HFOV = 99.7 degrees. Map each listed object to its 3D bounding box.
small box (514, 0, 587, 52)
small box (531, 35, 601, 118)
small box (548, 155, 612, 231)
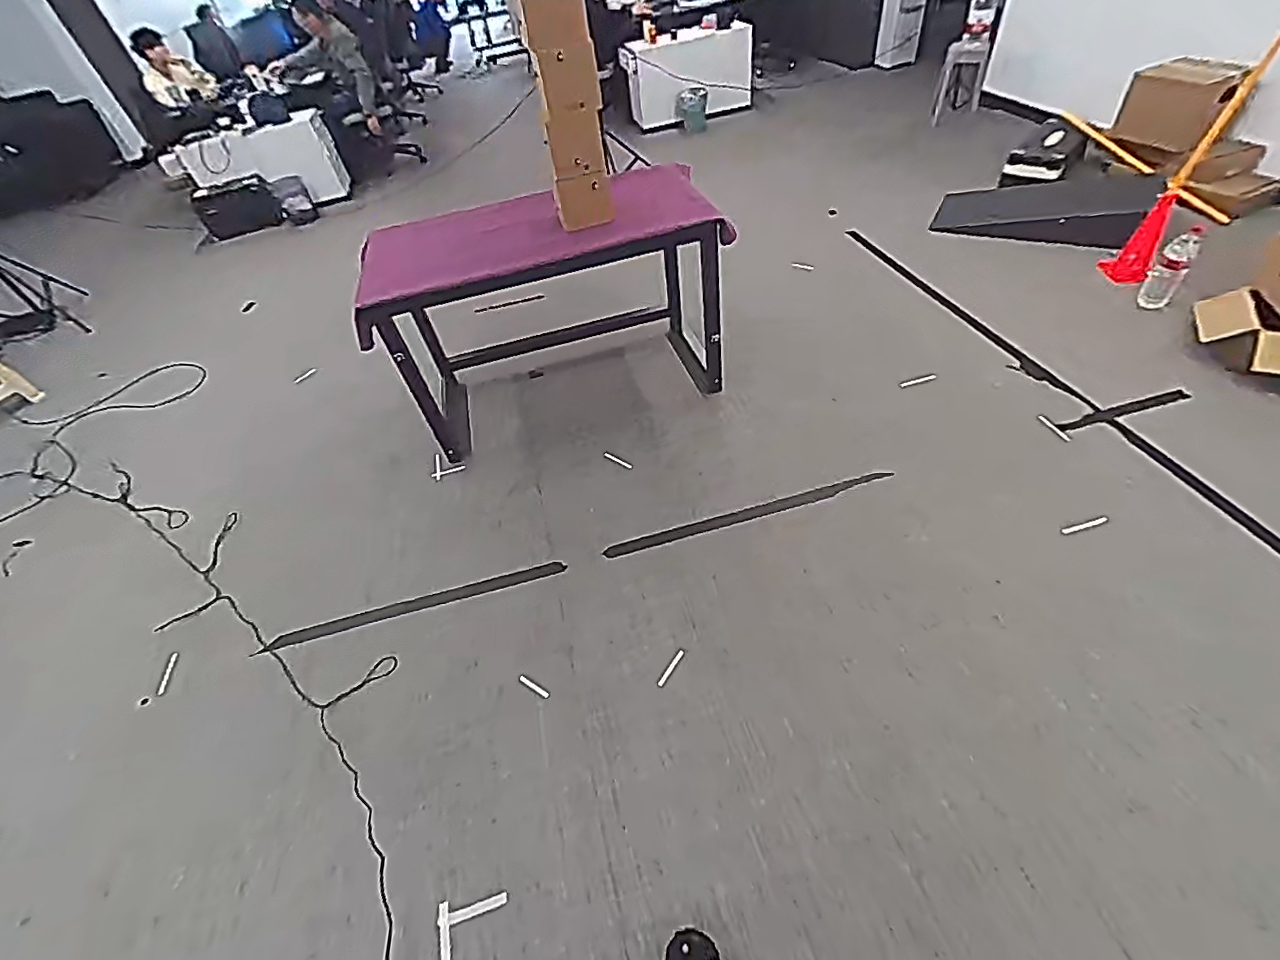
[{"bbox_3d":[-0.254,-1.325,1.506,0.179,0.176,0.168,-17,48,-6],"label":"small box"},{"bbox_3d":[-0.224,-1.210,1.618,0.168,0.176,0.179,-17,47,-5],"label":"small box"},{"bbox_3d":[-0.200,-0.985,1.857,0.179,0.176,0.168,-17,47,-5],"label":"small box"}]
